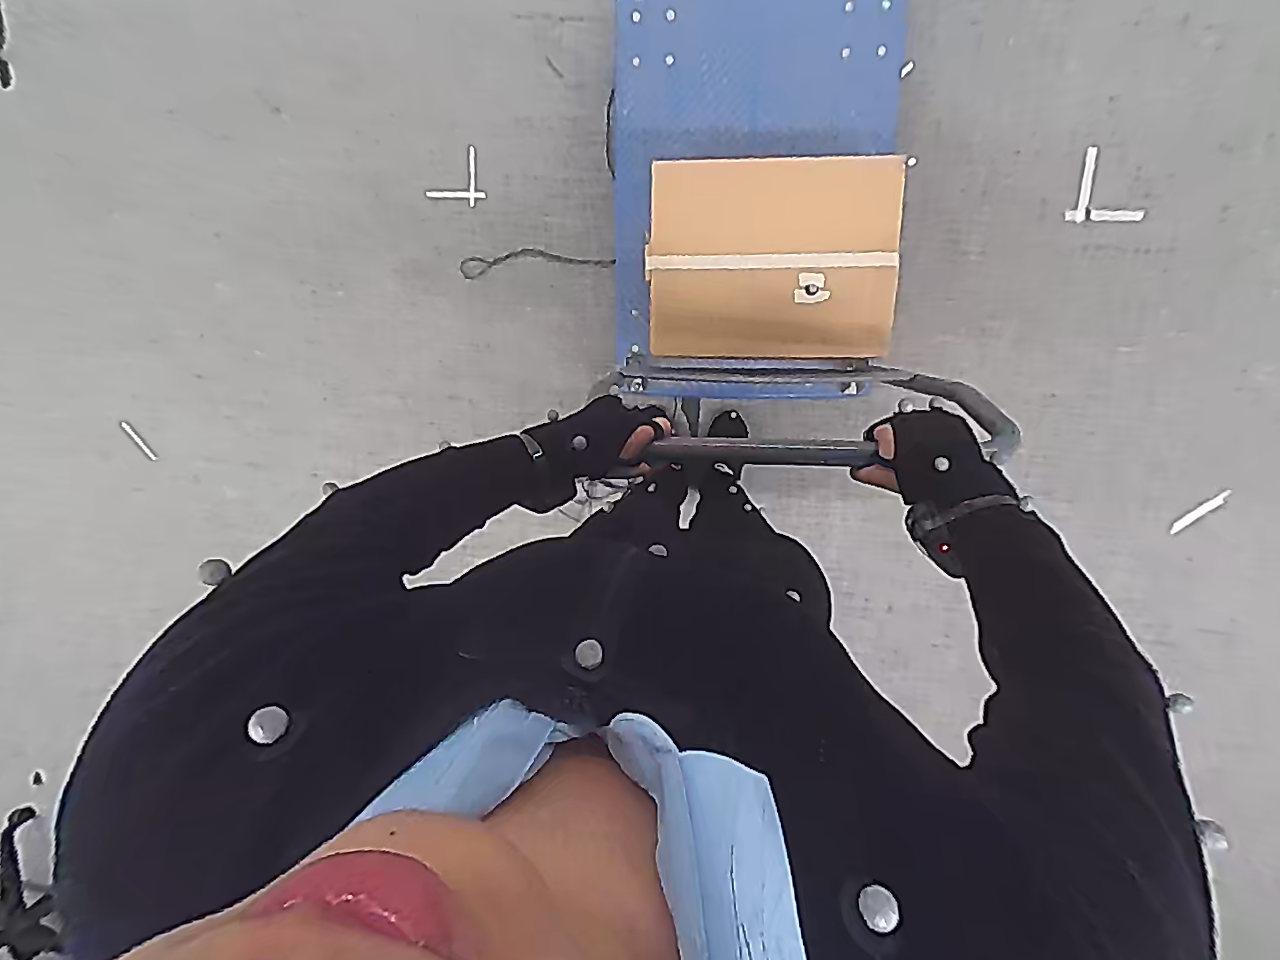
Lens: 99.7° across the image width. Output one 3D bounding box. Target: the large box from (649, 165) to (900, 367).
[{"bbox_3d":[0.225,-0.380,1.044,0.408,0.320,0.320,1,103,4],"label":"large box"}]
